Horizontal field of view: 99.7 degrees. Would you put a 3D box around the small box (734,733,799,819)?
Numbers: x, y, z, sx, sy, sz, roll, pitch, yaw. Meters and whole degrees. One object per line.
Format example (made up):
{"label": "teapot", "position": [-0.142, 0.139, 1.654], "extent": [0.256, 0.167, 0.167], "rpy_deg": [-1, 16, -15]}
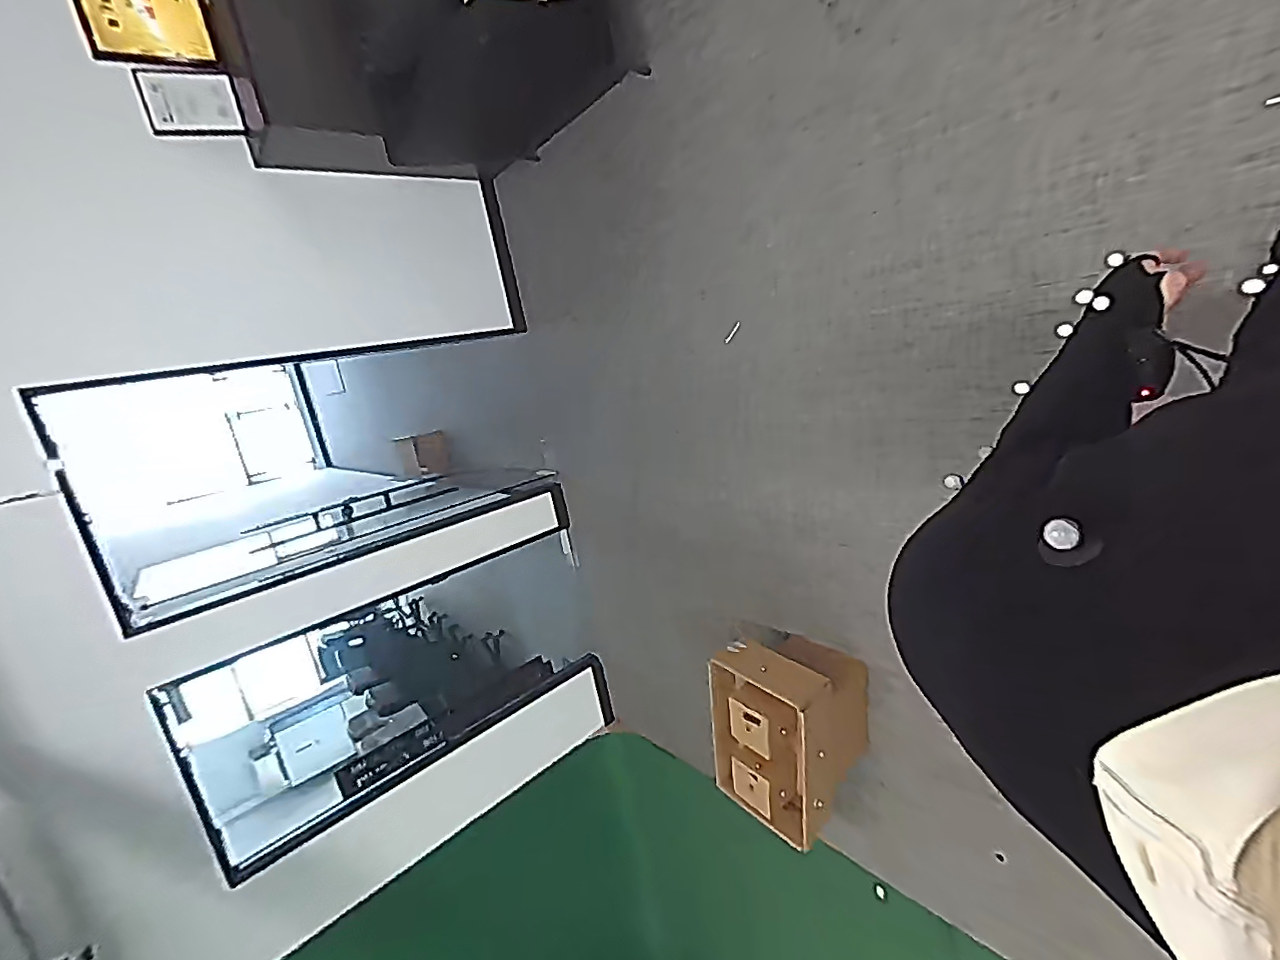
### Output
{"label": "small box", "position": [0.465, 1.069, 1.969], "extent": [0.168, 0.176, 0.179], "rpy_deg": [15, 118, 48]}
